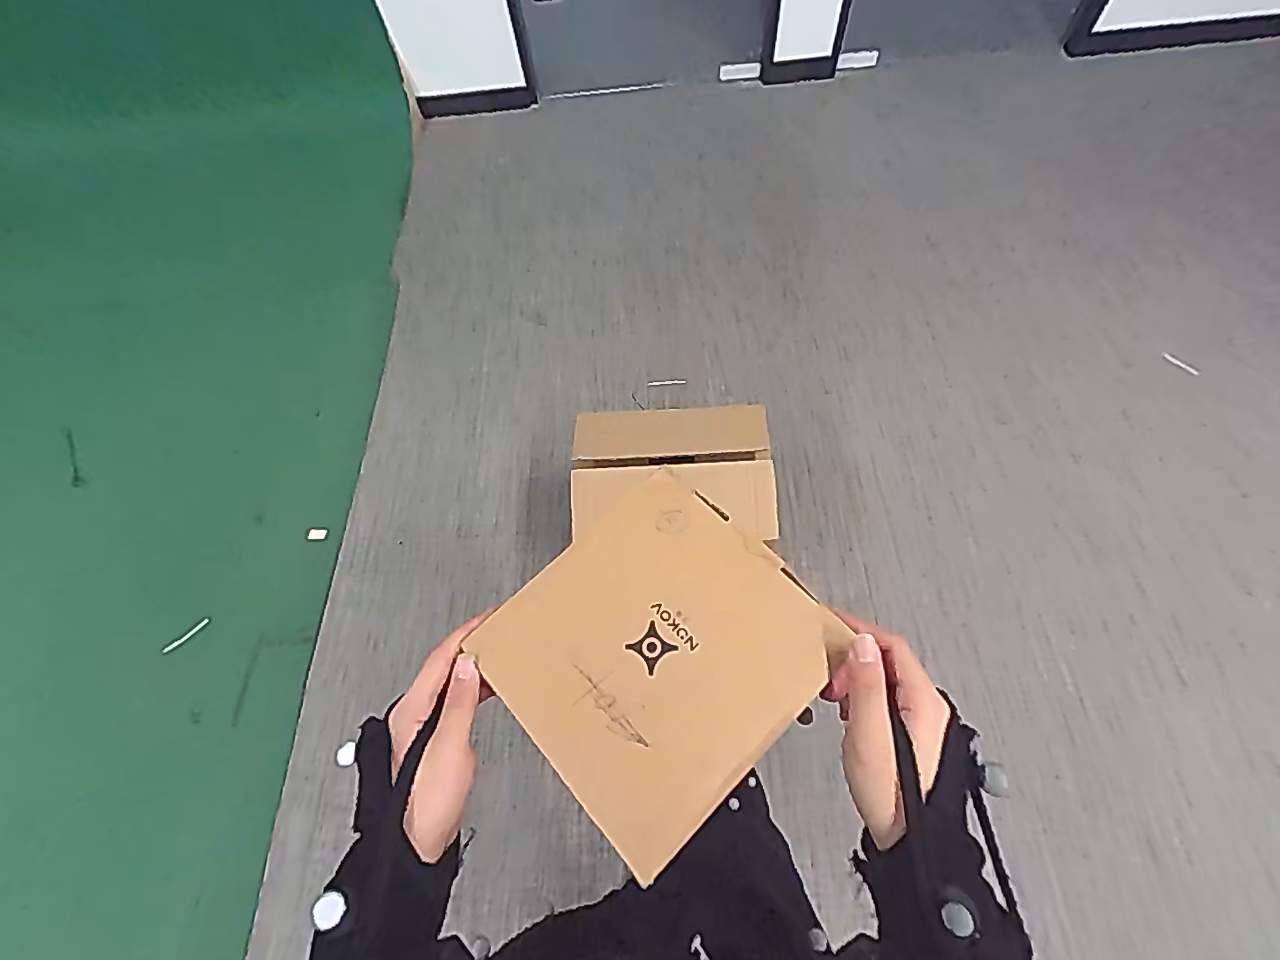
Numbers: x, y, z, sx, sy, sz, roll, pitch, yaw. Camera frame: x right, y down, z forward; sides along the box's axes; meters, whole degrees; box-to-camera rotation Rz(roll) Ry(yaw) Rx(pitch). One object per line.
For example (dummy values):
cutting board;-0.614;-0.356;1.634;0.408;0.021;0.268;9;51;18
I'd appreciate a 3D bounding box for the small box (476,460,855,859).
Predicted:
small box;0.020;0.124;0.399;0.179;0.176;0.168;-43;67;-13
